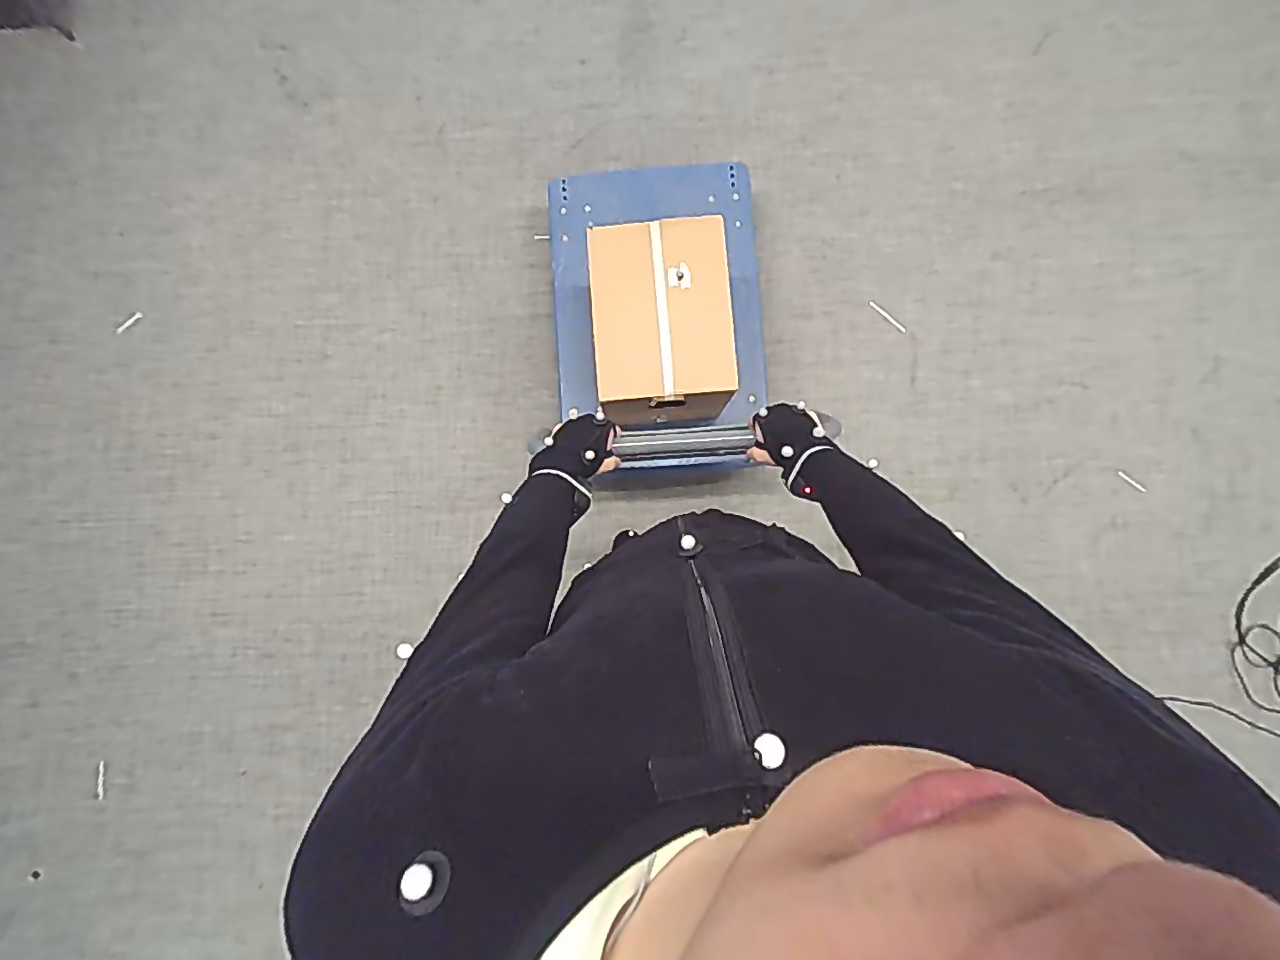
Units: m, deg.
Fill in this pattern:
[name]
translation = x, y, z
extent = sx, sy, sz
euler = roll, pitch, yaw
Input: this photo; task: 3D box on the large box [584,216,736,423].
[large box]
translation = 0.049, -0.379, 1.364
extent = 0.320, 0.320, 0.408
euler = -5, 86, 1
